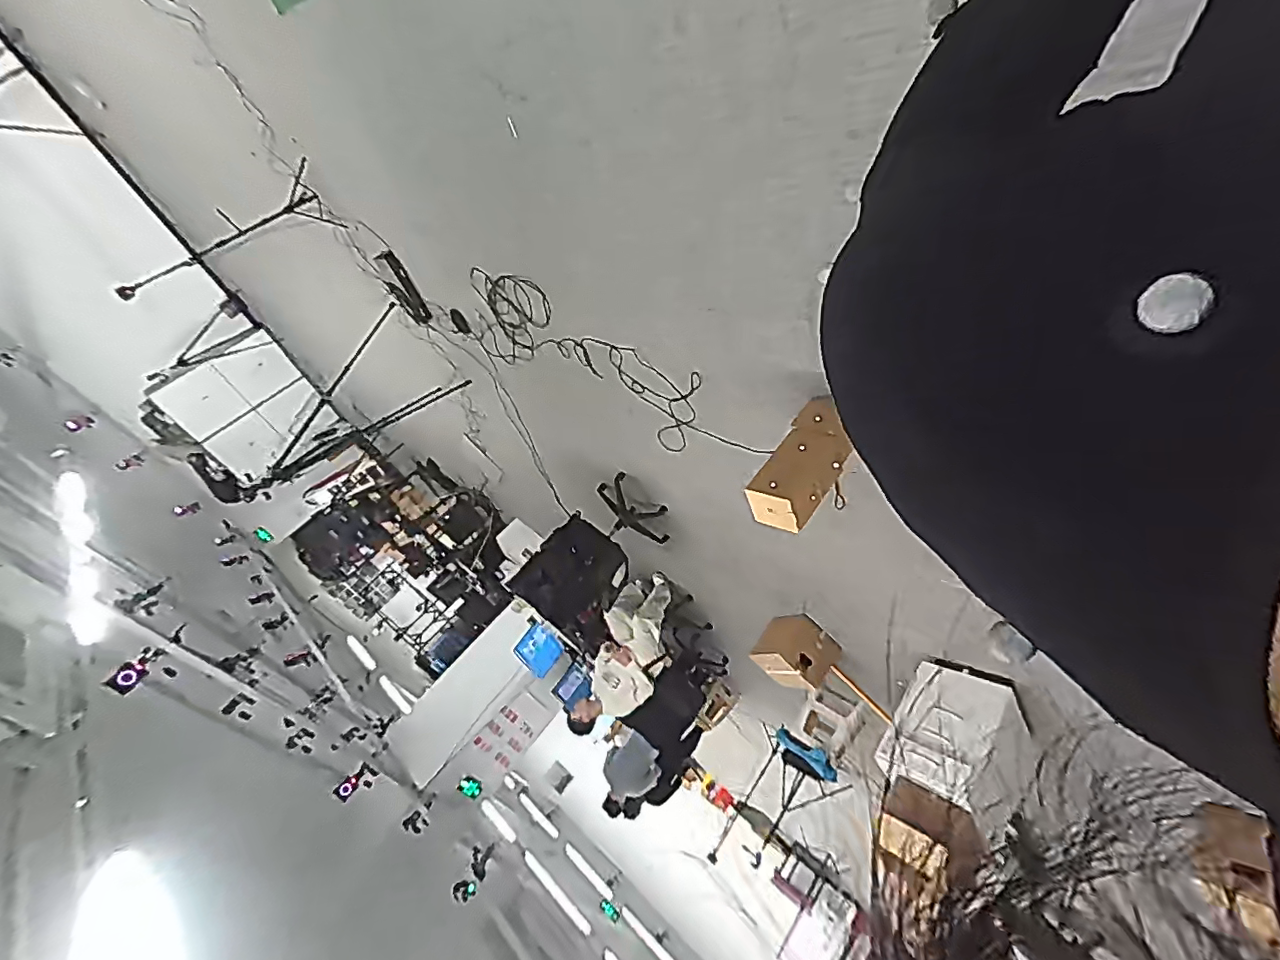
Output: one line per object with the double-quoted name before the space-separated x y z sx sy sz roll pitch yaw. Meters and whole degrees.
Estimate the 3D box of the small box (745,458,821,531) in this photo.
"small box" 0.492 0.042 1.848 0.179 0.176 0.168 16 144 44

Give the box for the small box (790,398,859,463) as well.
"small box" 0.684 -0.185 1.982 0.179 0.176 0.168 15 143 46

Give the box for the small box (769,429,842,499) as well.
"small box" 0.592 -0.063 1.923 0.179 0.176 0.168 17 145 43
